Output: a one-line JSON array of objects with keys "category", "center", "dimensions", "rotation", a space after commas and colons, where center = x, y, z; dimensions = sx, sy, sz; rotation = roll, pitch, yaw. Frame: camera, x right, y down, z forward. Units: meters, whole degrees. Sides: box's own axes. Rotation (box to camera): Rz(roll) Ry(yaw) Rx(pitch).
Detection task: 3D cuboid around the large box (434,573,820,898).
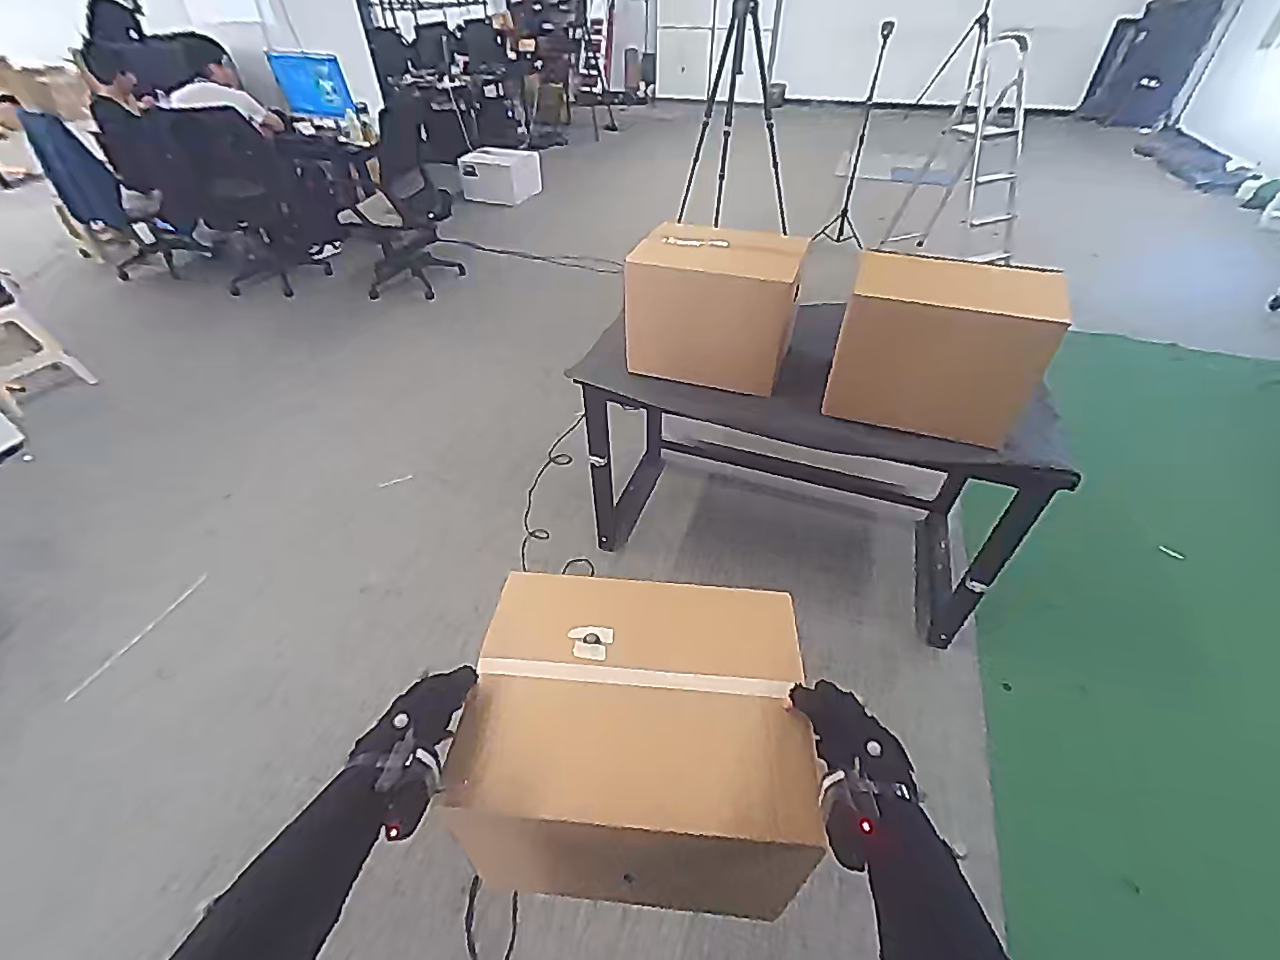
[{"category": "large box", "center": [-0.005, 0.354, 0.758], "dimensions": [0.408, 0.320, 0.320], "rotation": [3, 40, 3]}]
